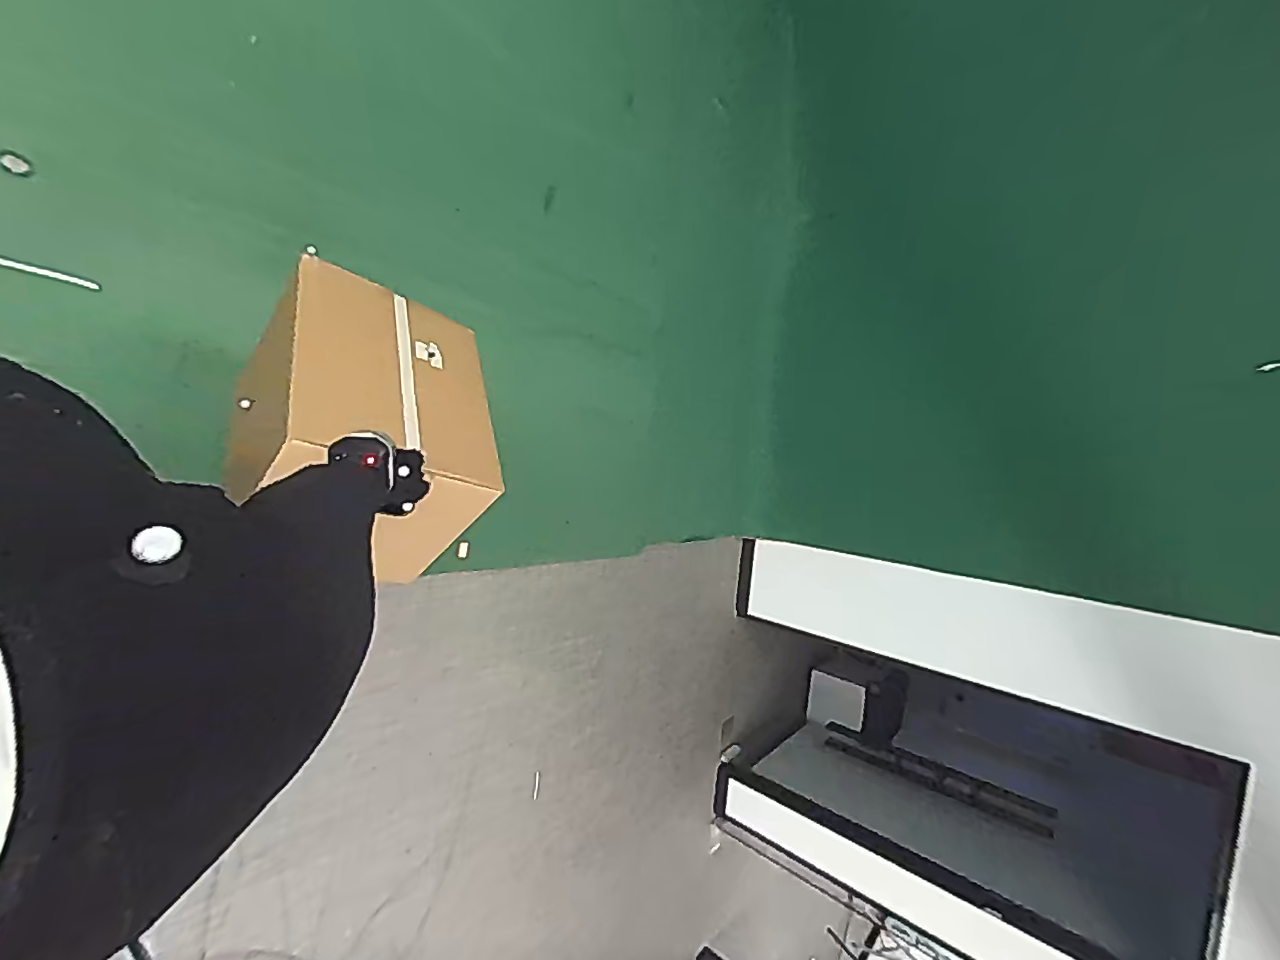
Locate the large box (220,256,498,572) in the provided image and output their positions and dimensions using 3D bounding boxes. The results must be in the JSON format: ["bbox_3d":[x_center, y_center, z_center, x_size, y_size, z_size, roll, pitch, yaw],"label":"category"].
[{"bbox_3d":[-0.495,-0.093,0.952,0.320,0.320,0.408,20,39,-45],"label":"large box"}]
